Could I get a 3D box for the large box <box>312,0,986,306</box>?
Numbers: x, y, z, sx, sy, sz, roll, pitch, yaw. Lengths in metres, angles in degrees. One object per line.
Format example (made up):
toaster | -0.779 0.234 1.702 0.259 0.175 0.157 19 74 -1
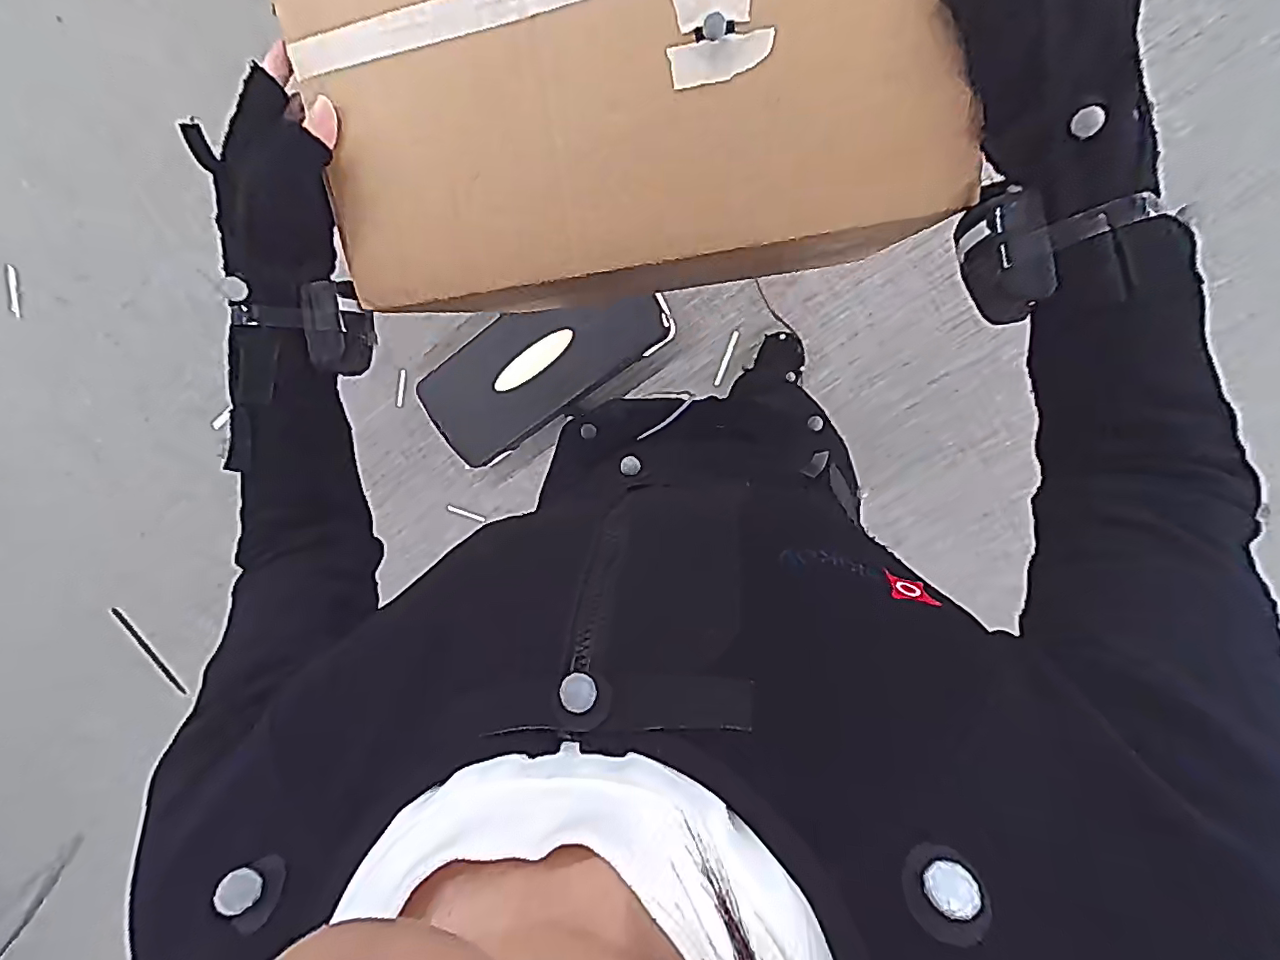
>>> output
large box | 0.009 -0.341 0.458 0.408 0.320 0.320 -6 107 12
